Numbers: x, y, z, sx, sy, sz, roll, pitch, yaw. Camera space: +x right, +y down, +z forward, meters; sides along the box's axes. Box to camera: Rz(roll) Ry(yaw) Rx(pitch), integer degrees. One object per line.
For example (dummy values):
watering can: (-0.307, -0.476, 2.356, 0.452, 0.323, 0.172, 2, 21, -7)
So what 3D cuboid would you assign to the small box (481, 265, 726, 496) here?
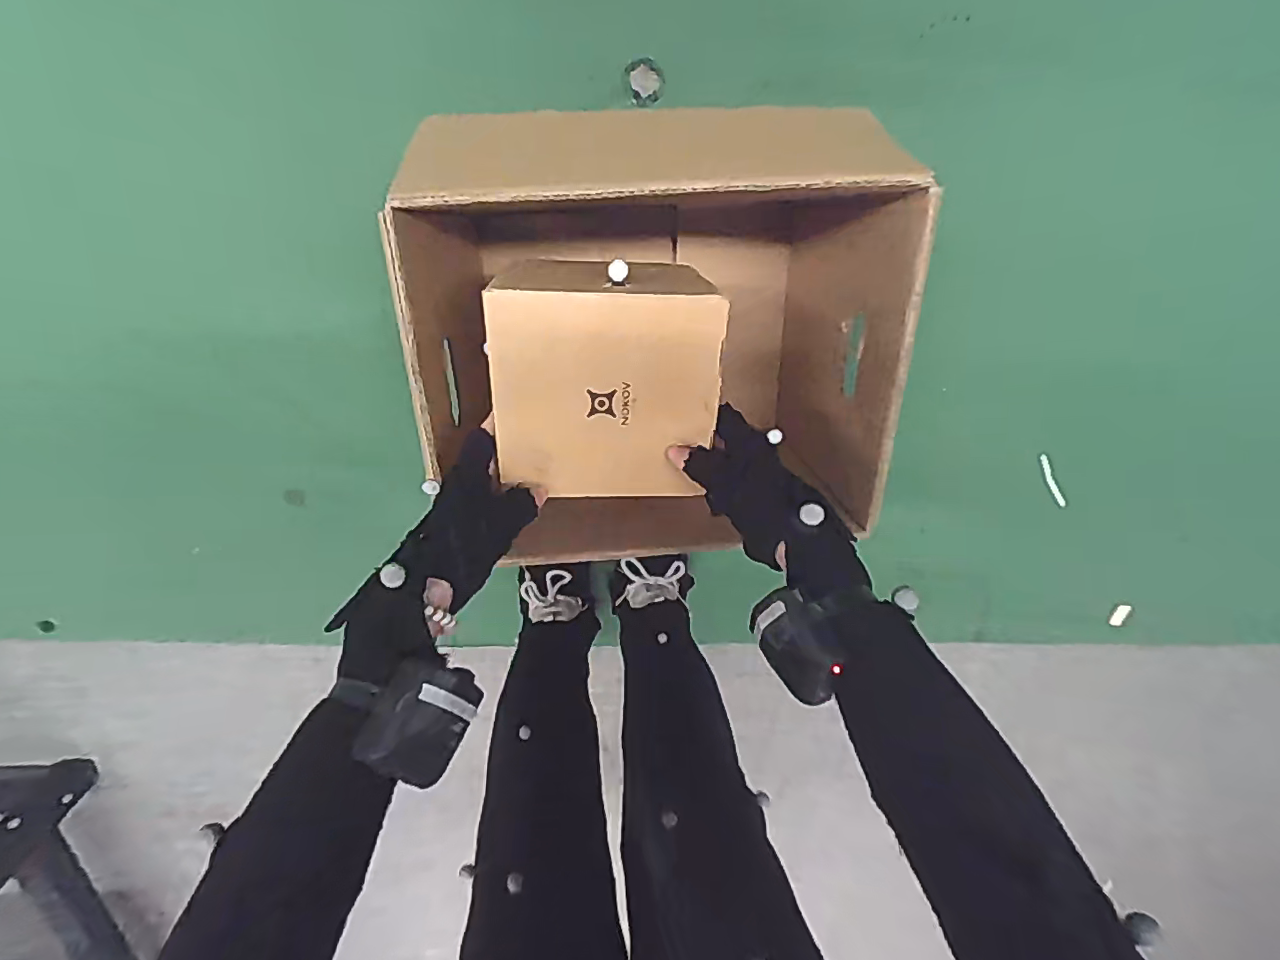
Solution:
small box: (-0.035, -0.096, 0.488, 0.179, 0.176, 0.168, -1, 118, -7)
